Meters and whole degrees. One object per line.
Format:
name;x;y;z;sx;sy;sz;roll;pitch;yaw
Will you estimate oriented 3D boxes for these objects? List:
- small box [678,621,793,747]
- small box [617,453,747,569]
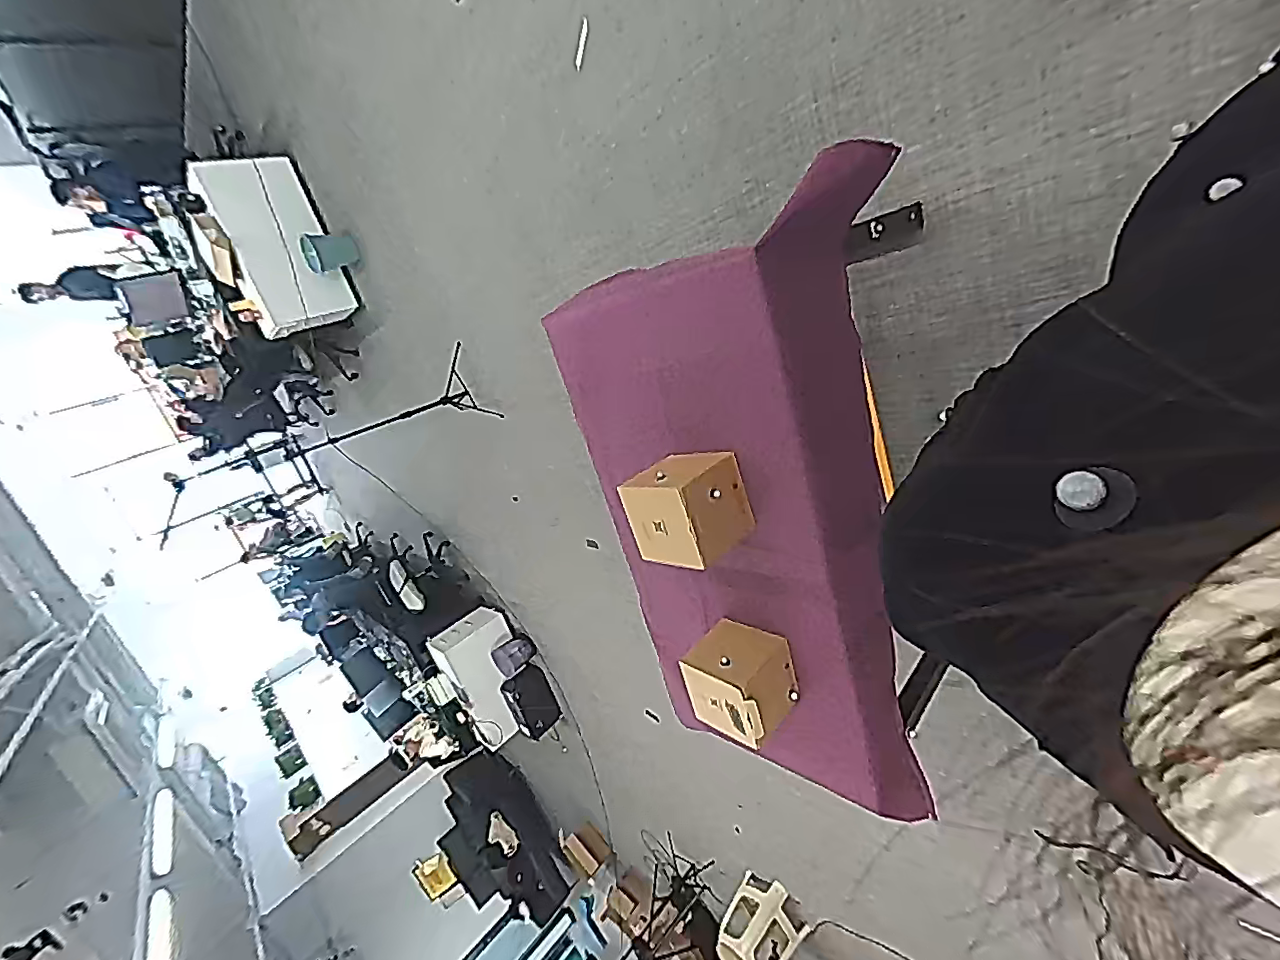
small box;0.218;0.437;1.190;0.179;0.176;0.168;6;119;48
small box;0.091;0.053;1.064;0.179;0.176;0.168;1;115;49
